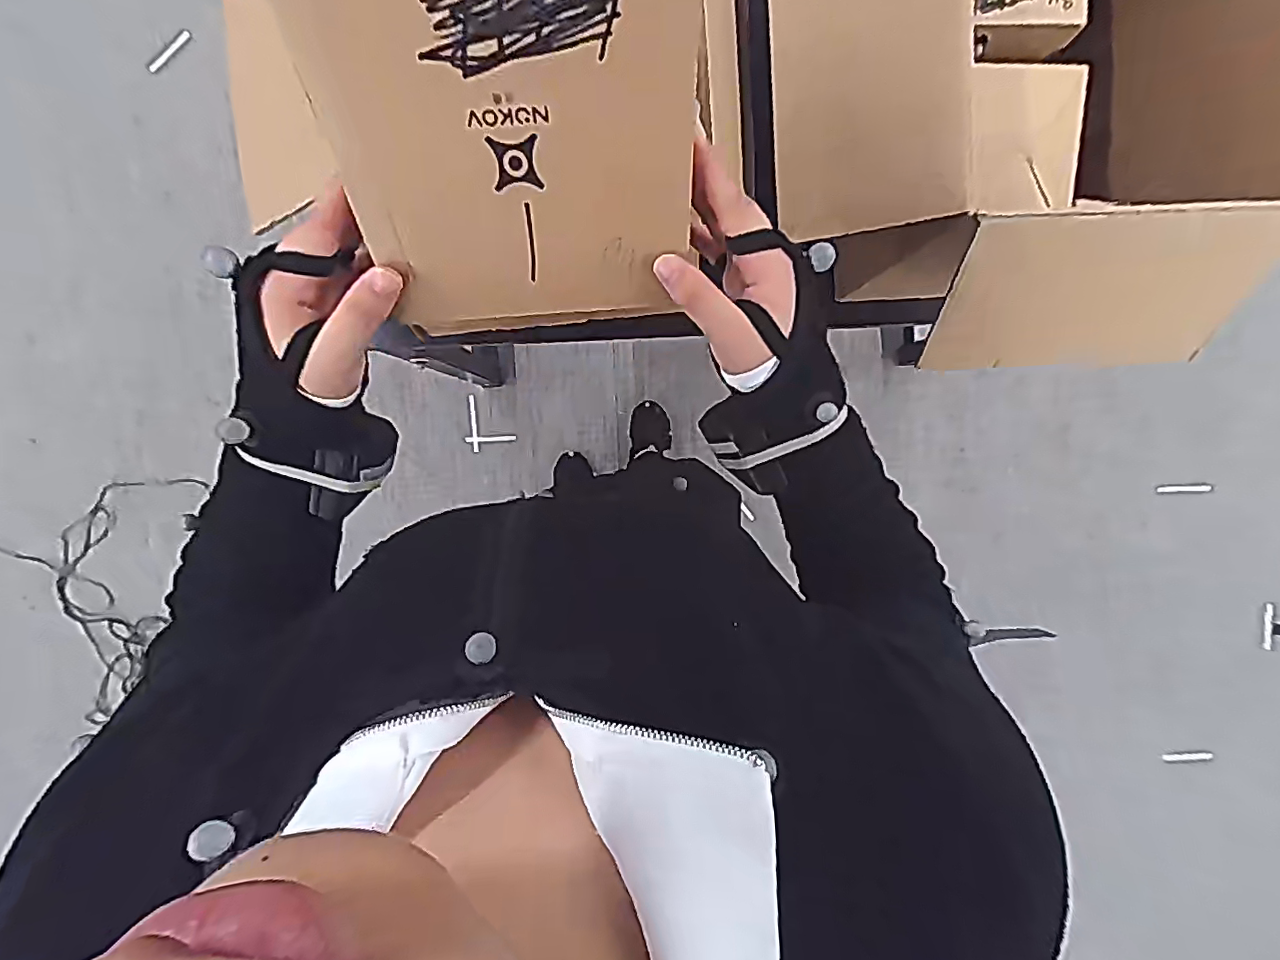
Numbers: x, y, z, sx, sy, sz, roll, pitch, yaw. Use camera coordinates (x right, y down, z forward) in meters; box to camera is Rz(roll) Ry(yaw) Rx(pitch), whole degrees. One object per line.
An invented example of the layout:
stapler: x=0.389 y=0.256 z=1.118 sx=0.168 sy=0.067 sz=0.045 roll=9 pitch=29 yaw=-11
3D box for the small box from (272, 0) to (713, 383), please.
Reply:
small box: x=-0.061 y=-0.181 z=0.312 sx=0.168 sy=0.176 sz=0.179 roll=-5 pitch=137 yaw=-3
